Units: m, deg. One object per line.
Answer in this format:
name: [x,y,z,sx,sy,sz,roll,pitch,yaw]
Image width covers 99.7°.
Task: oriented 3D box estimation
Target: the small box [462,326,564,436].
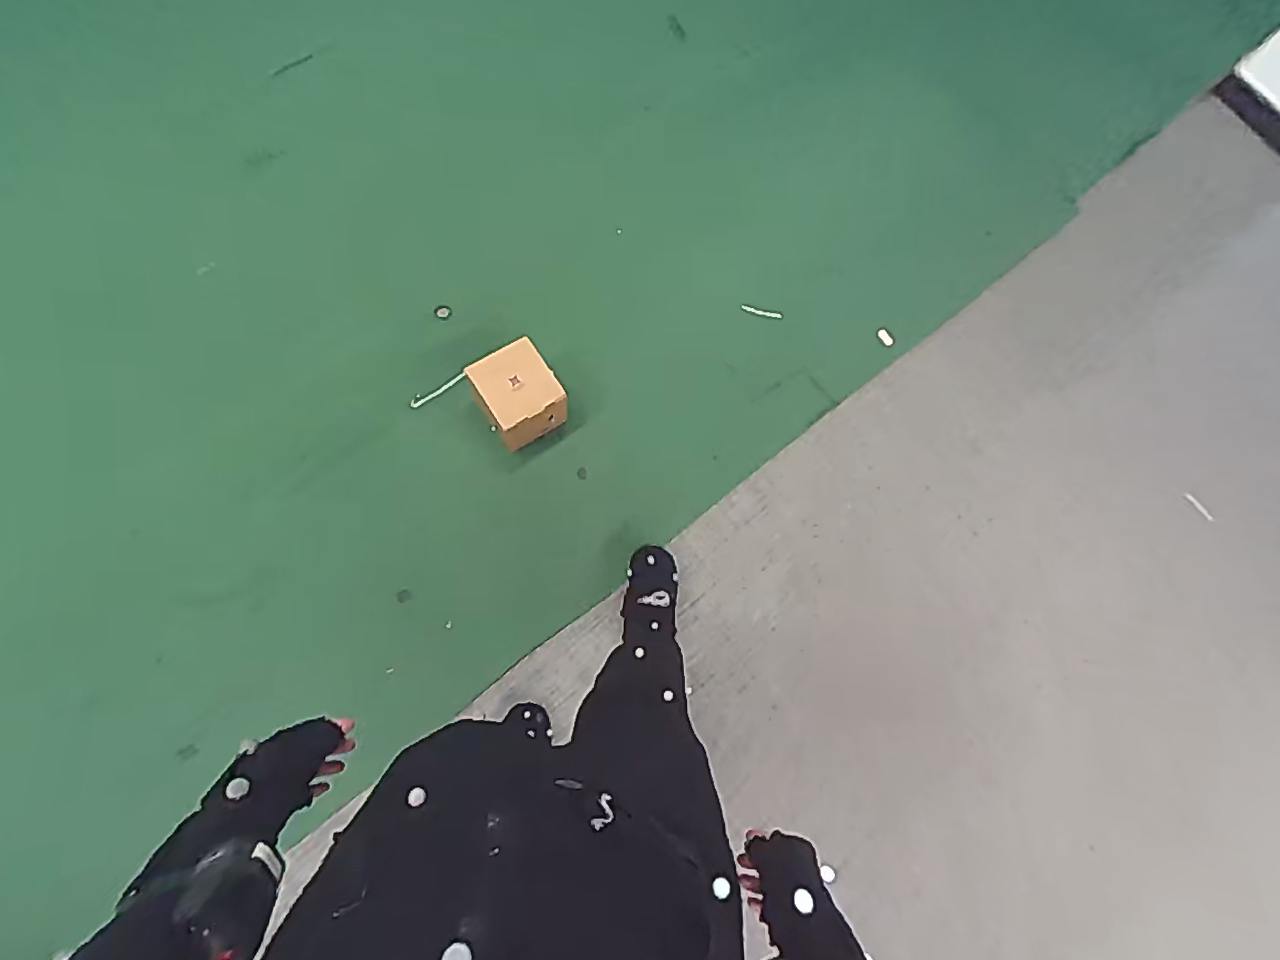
small box: [-0.292,-0.221,1.271,0.168,0.176,0.179,-31,82,-16]
